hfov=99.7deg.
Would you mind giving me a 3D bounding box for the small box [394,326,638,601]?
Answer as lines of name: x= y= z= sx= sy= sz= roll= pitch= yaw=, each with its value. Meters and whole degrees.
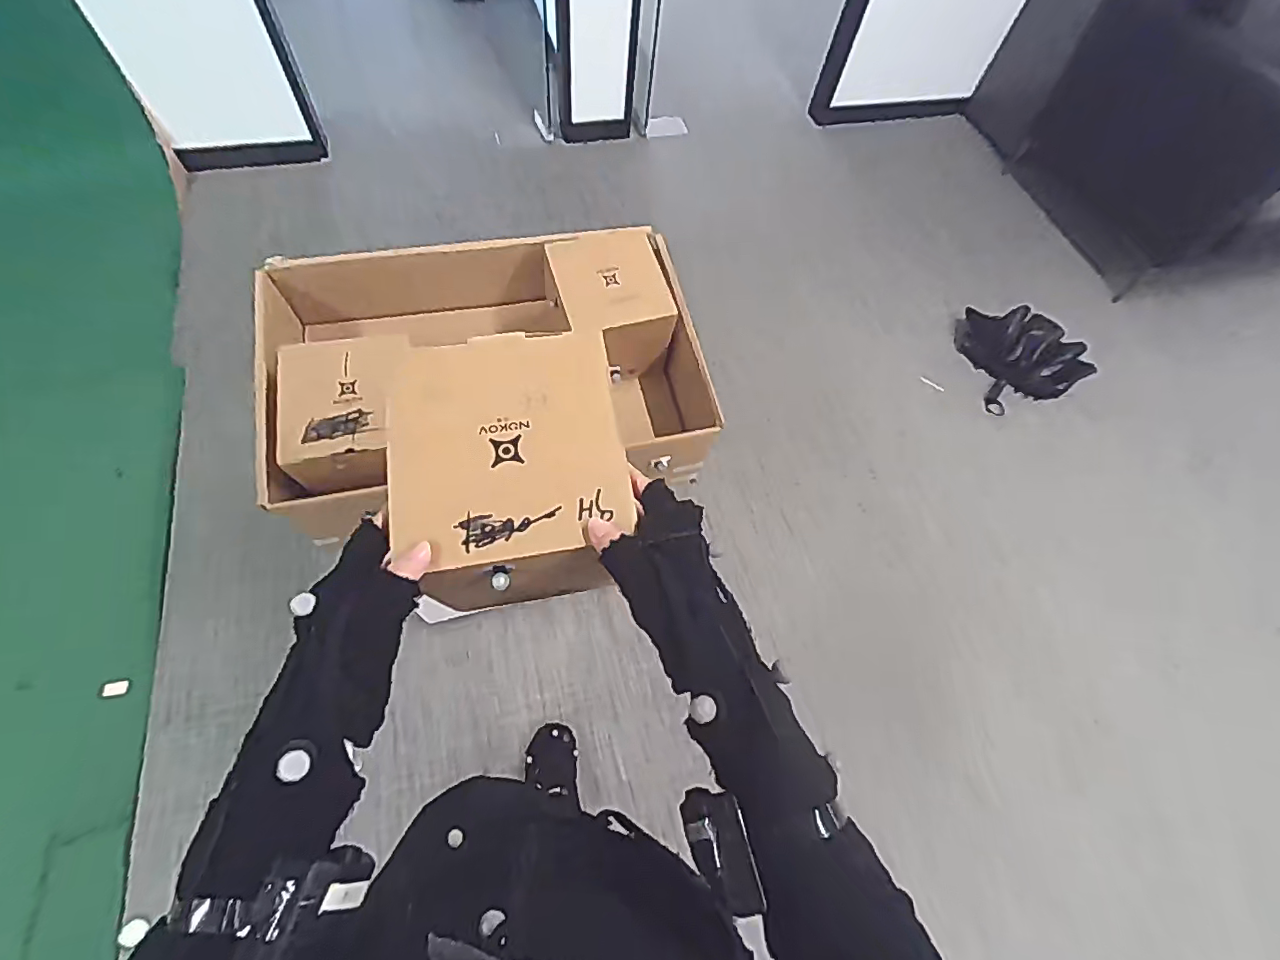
small box: x=-0.100 y=-0.005 z=0.470 sx=0.168 sy=0.176 sz=0.179 roll=-9 pitch=70 yaw=-6
